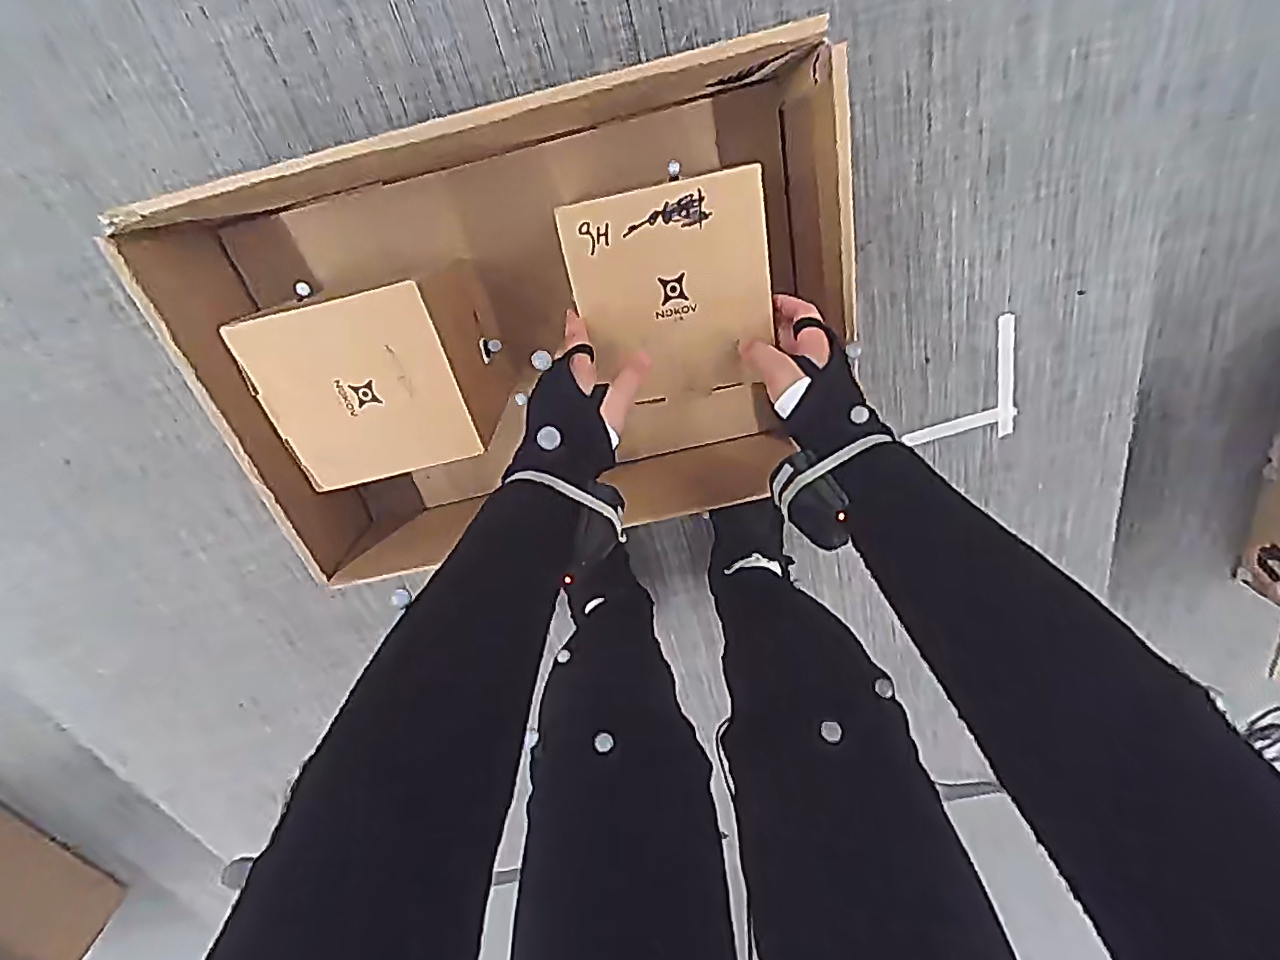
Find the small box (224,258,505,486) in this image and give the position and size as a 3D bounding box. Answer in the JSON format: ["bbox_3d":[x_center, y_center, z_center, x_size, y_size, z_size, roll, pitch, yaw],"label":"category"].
[{"bbox_3d":[-0.258,-0.119,0.560,0.179,0.176,0.168,-14,119,3],"label":"small box"}]

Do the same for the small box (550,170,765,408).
[{"bbox_3d":[0.021,-0.194,0.534,0.168,0.176,0.179,-10,119,4],"label":"small box"}]
